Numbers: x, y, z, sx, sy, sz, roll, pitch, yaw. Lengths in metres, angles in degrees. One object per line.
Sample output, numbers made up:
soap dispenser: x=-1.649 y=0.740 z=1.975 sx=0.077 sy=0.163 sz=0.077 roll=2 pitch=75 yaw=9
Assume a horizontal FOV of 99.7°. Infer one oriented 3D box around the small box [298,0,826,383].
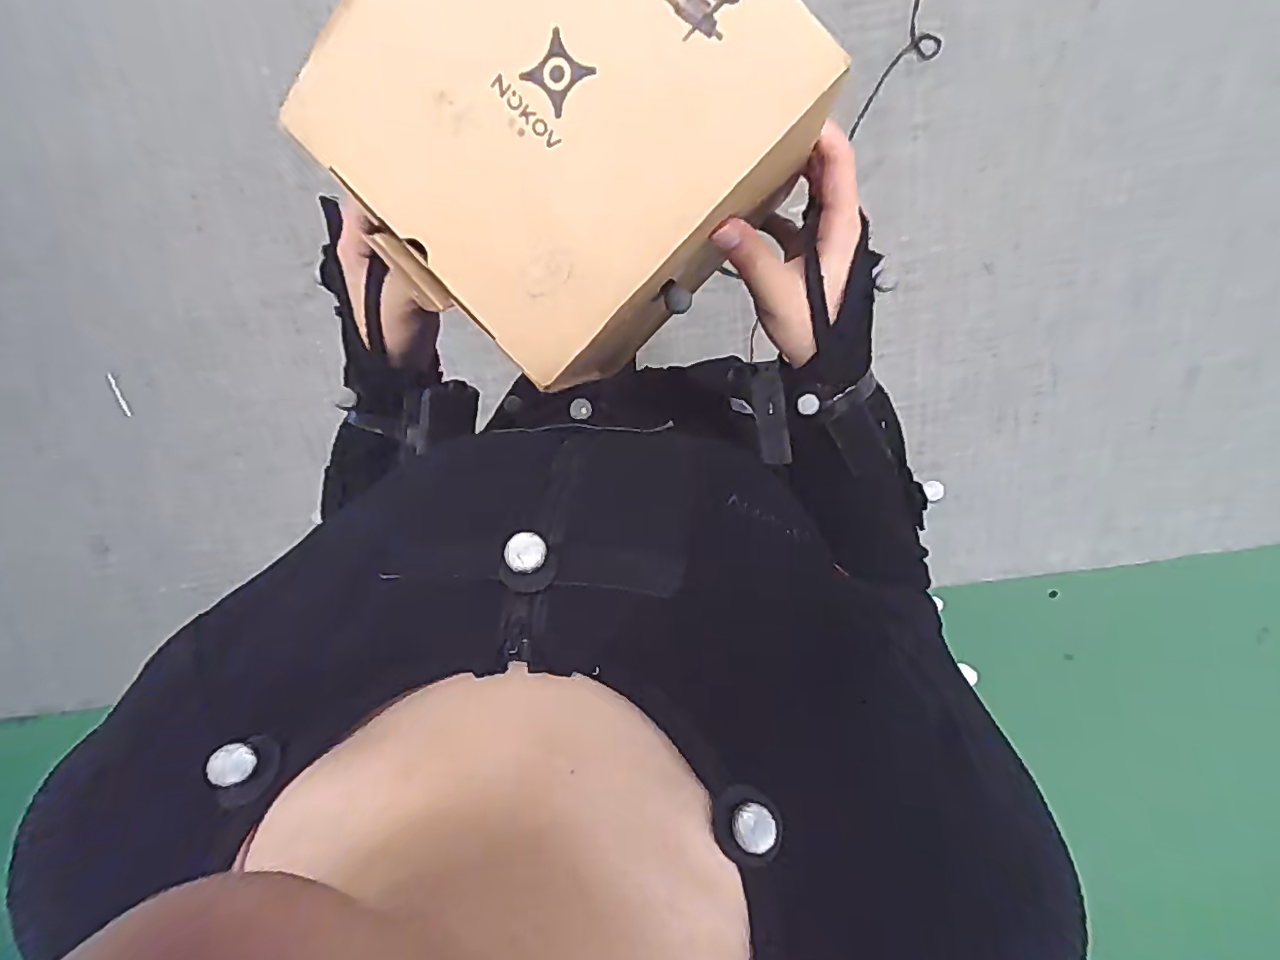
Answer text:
small box: x=-0.028 y=-0.176 z=0.302 sx=0.168 sy=0.176 sz=0.179 roll=45 pitch=106 yaw=-4
